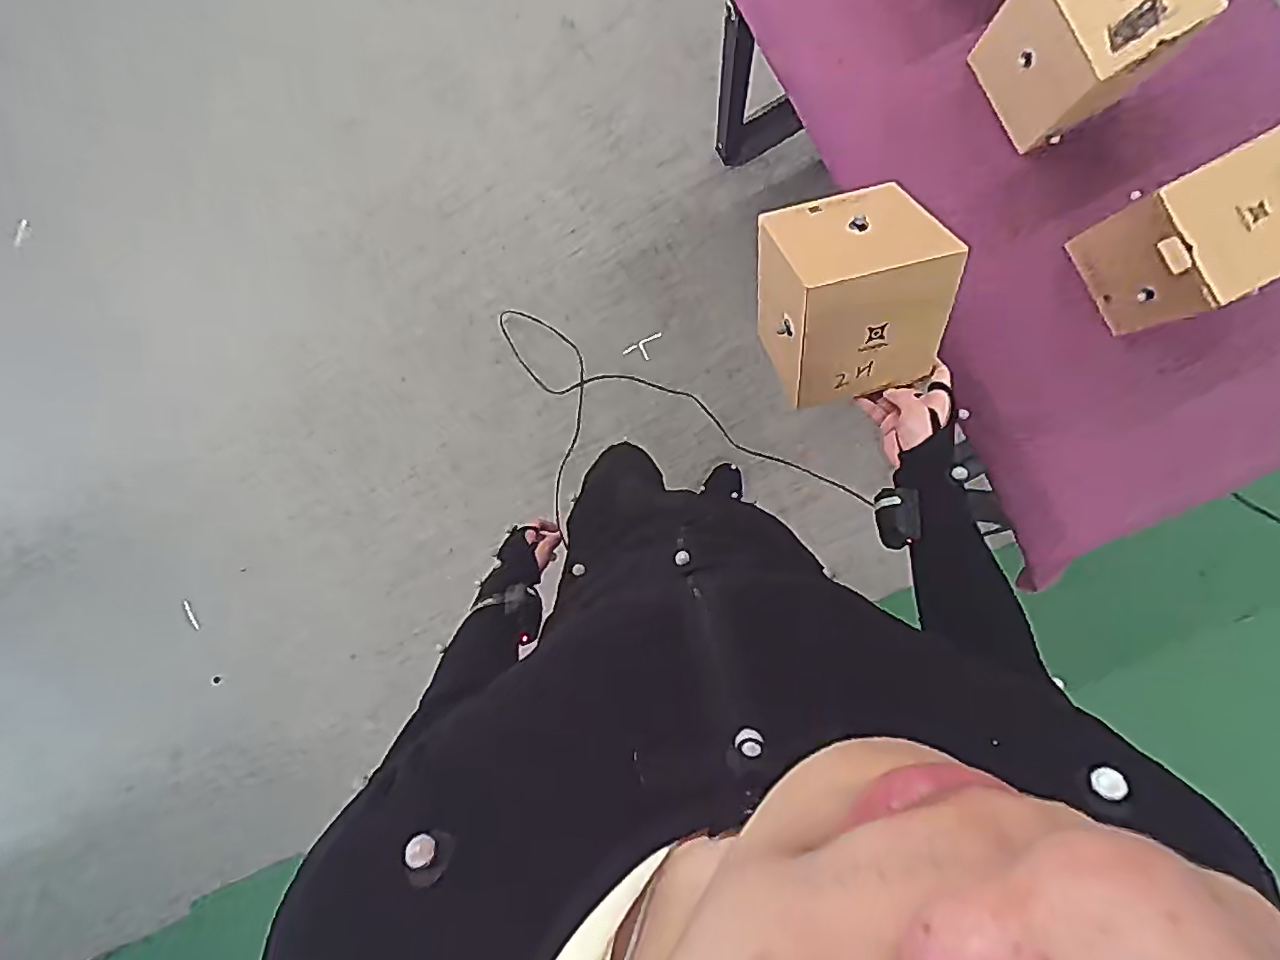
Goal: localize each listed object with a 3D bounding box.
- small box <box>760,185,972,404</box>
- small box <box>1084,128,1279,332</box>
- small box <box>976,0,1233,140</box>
[{"bbox_3d":[0.245,-0.224,0.642,0.168,0.179,0.176,-13,51,2],"label":"small box"},{"bbox_3d":[0.759,-0.324,0.732,0.179,0.176,0.168,-27,89,6],"label":"small box"},{"bbox_3d":[0.609,-0.607,0.737,0.168,0.176,0.179,-28,88,6],"label":"small box"}]
